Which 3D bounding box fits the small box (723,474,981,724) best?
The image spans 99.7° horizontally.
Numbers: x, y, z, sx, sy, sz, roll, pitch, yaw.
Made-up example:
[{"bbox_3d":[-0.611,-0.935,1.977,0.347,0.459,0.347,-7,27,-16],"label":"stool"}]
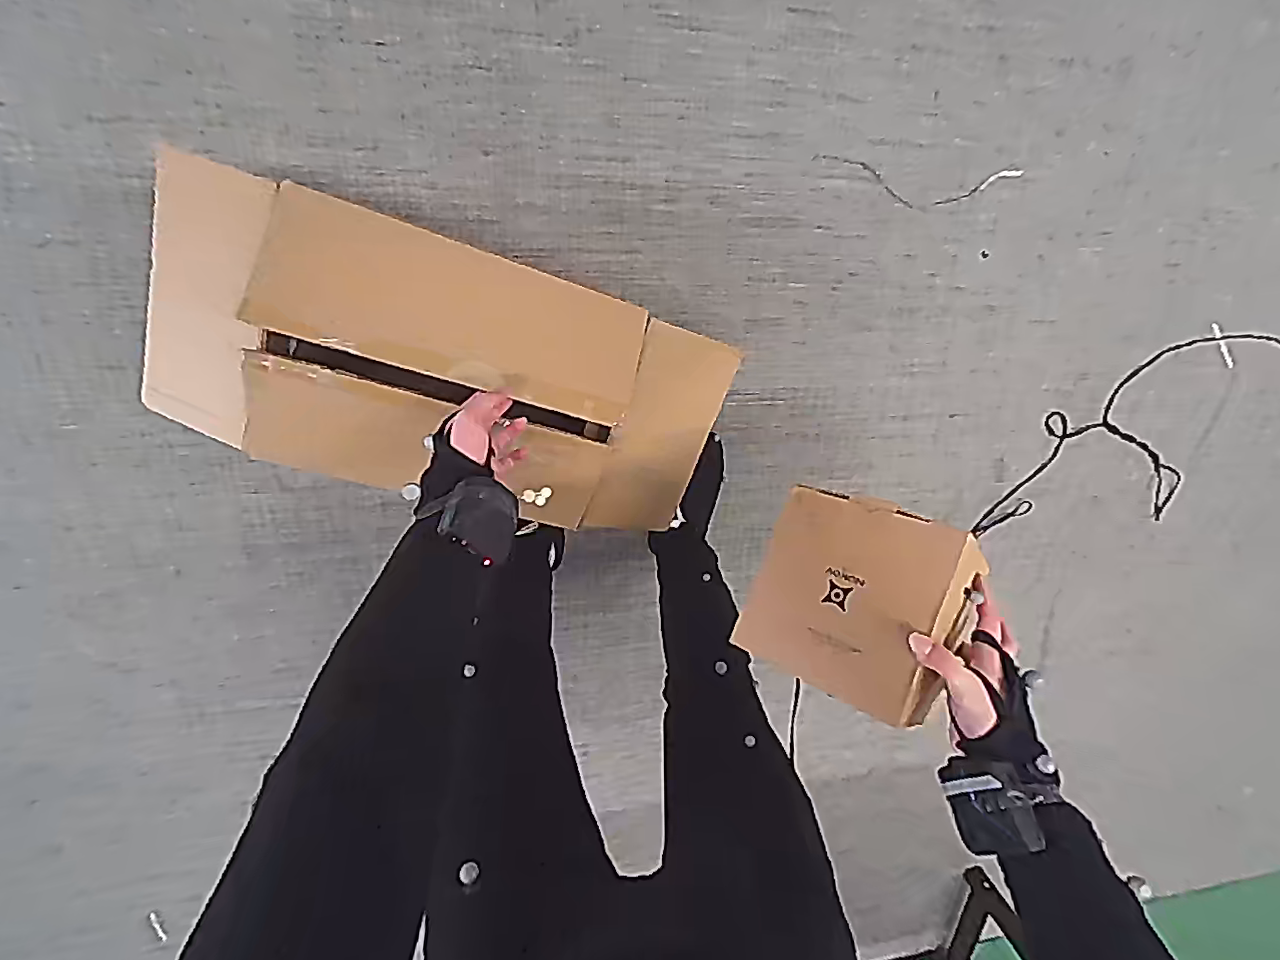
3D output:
[{"bbox_3d":[0.219,0.118,0.542,0.176,0.168,0.179,28,85,-47],"label":"small box"}]
